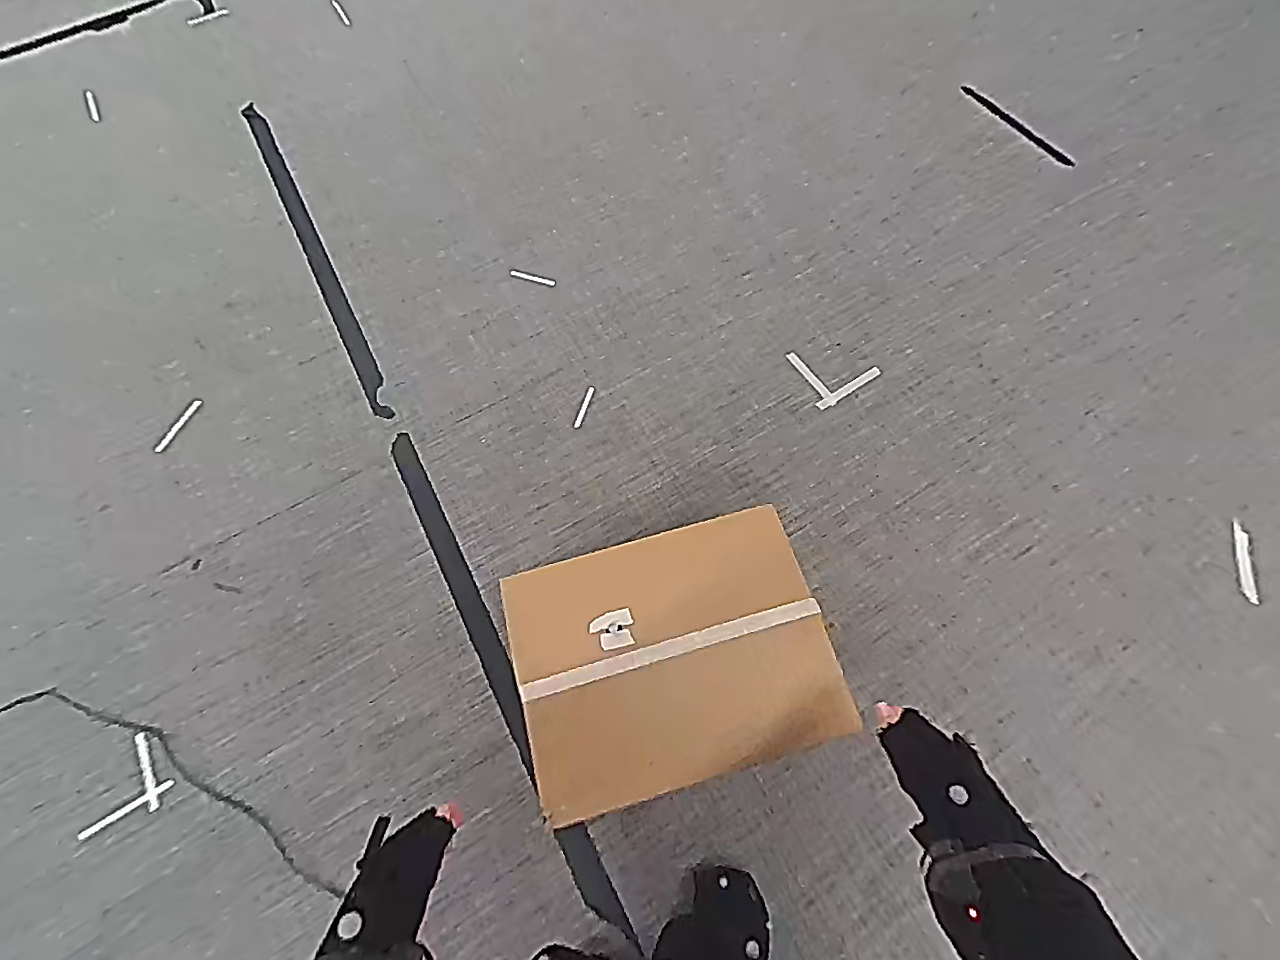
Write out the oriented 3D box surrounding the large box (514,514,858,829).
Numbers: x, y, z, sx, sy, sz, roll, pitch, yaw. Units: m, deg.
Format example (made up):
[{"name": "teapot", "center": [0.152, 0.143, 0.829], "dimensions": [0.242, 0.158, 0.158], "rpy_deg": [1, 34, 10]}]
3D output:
[{"name": "large box", "center": [0.057, 0.292, 0.866], "dimensions": [0.408, 0.320, 0.320], "rpy_deg": [-16, 67, -4]}]
